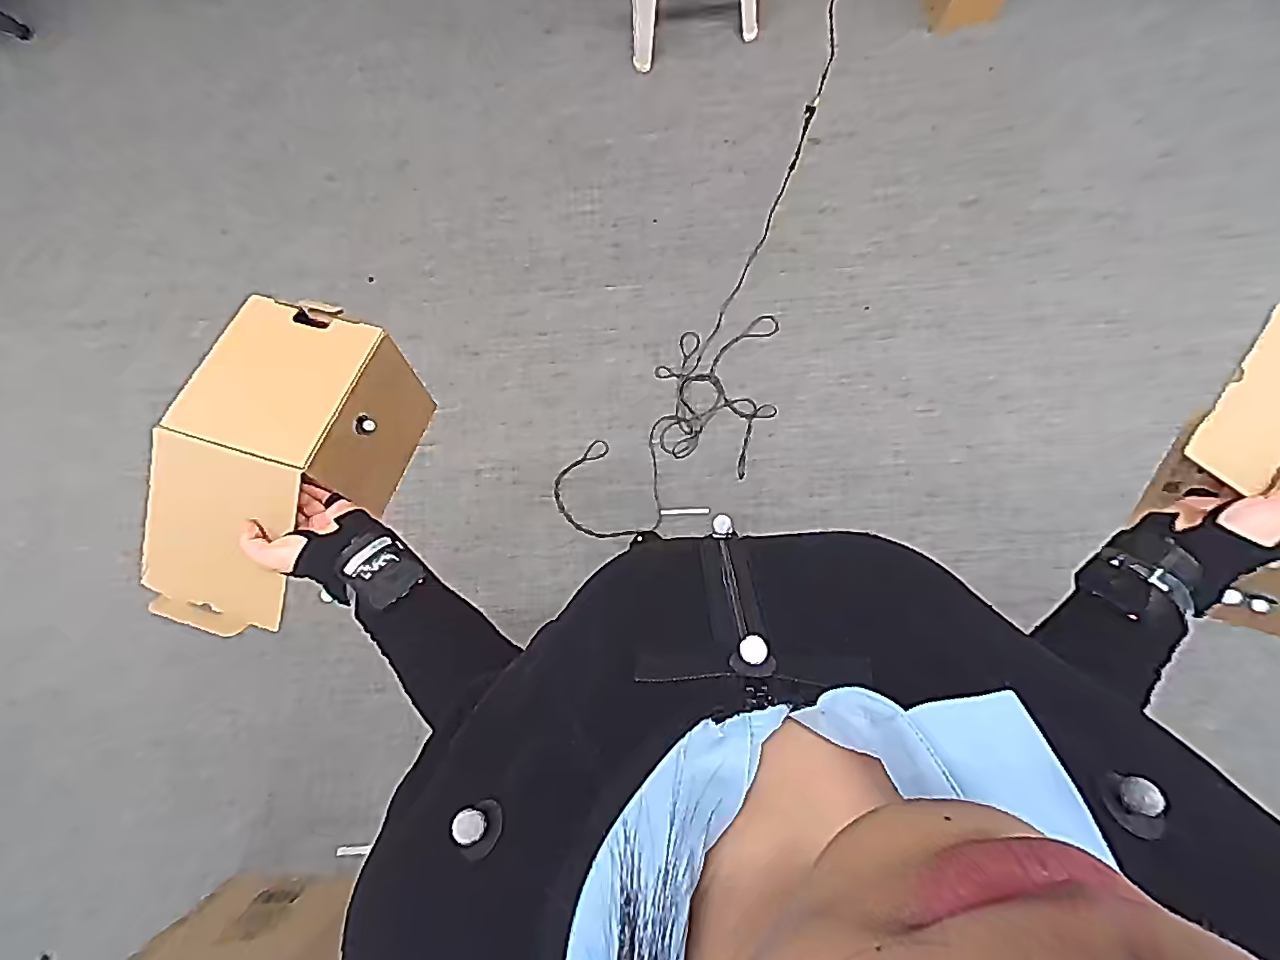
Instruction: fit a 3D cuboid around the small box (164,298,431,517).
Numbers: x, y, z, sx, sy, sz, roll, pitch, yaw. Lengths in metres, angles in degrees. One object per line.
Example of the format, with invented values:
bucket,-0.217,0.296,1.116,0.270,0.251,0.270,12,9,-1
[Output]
small box,-0.375,-0.075,0.635,0.168,0.176,0.179,16,68,6
